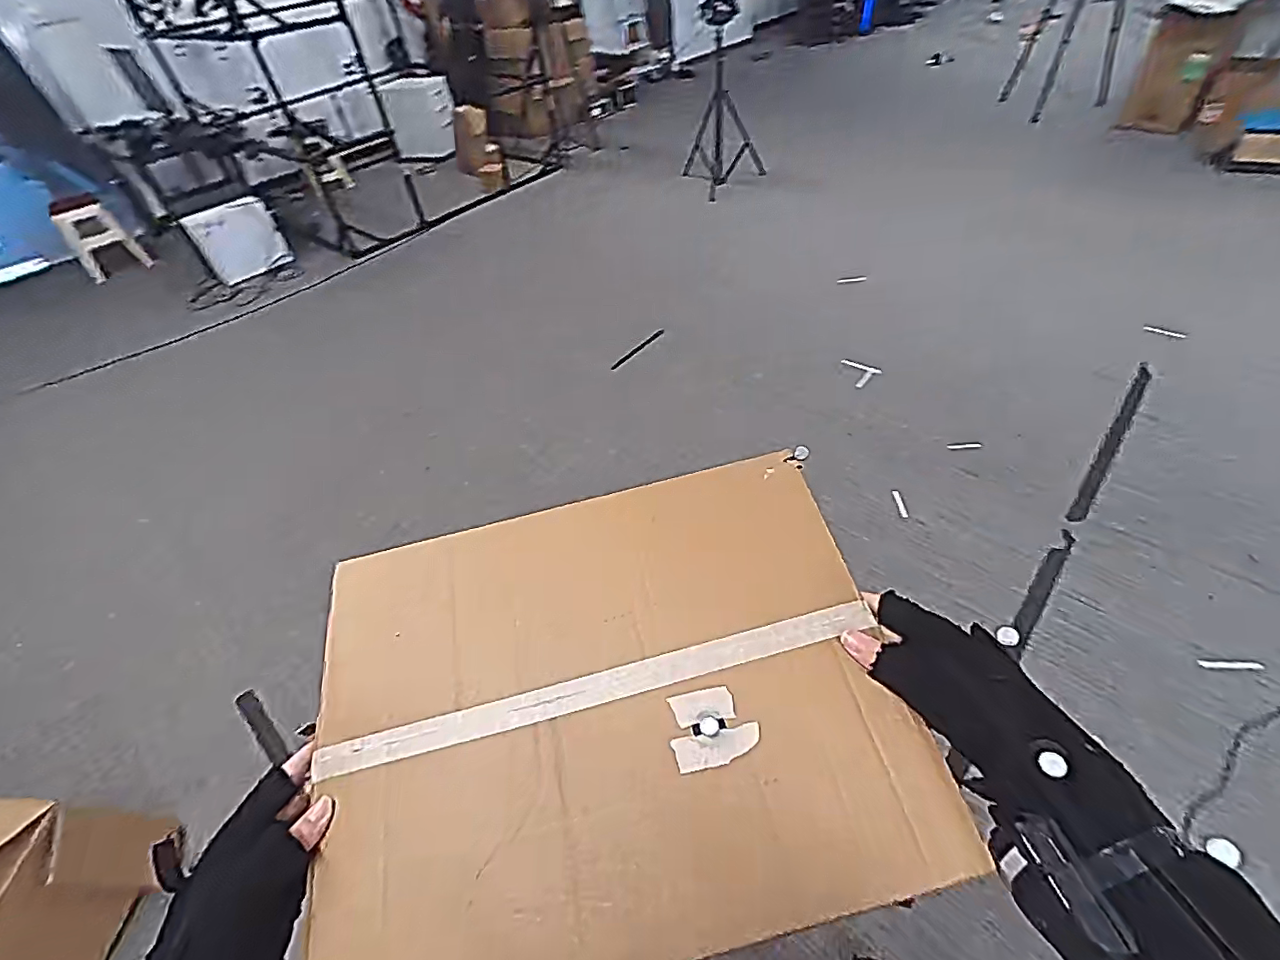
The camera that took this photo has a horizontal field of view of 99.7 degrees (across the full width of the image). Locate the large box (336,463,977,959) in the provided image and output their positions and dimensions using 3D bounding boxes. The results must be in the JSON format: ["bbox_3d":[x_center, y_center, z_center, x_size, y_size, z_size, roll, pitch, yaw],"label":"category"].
[{"bbox_3d":[-0.006,0.236,0.522,0.408,0.320,0.320,-14,57,-3],"label":"large box"}]
